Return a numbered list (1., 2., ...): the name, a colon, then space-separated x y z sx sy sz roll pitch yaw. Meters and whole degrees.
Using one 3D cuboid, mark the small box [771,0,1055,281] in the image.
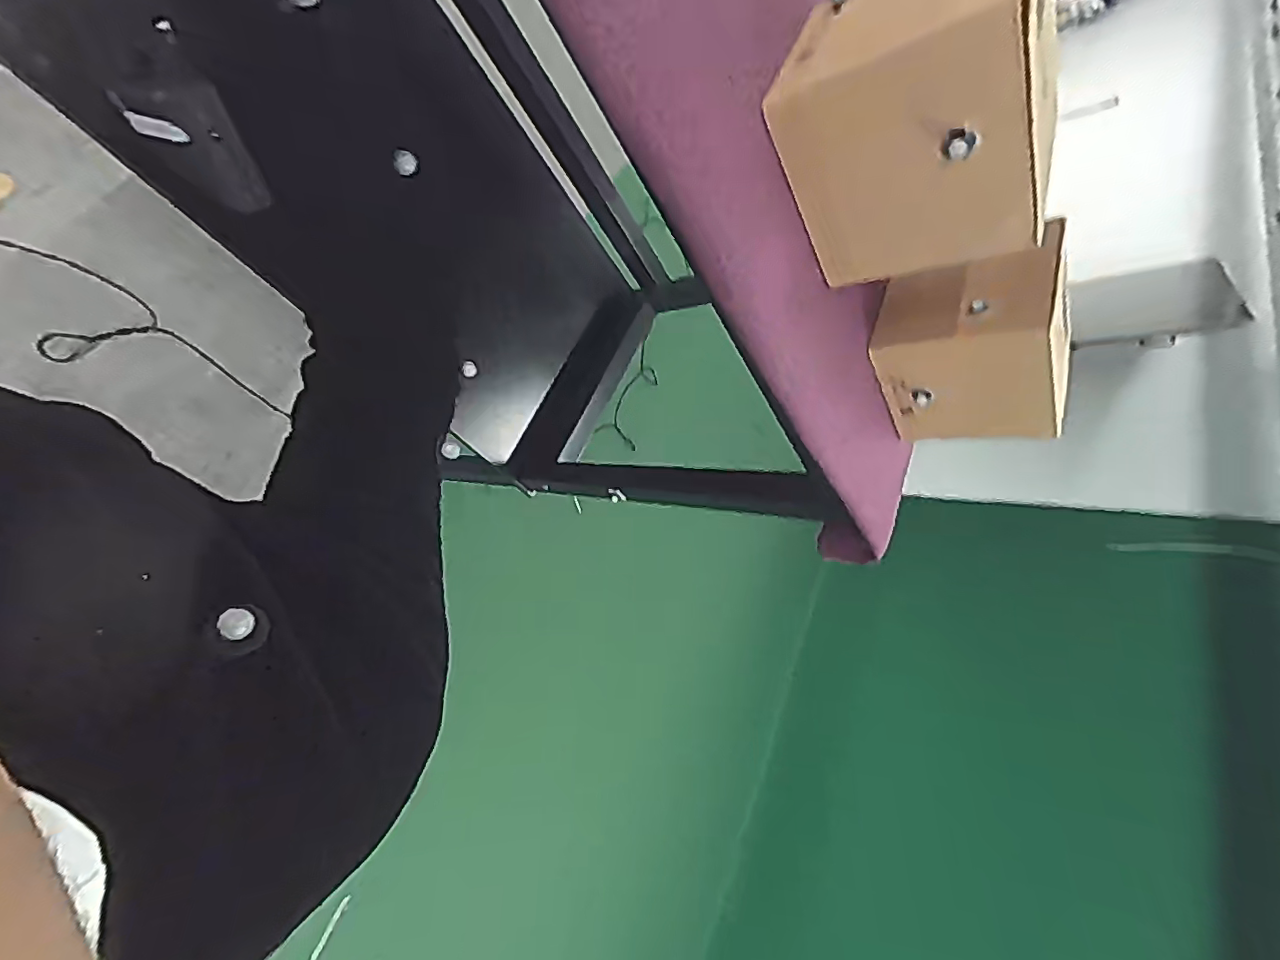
1. small box: 0.228 -0.294 0.446 0.179 0.176 0.168 47 59 -40
